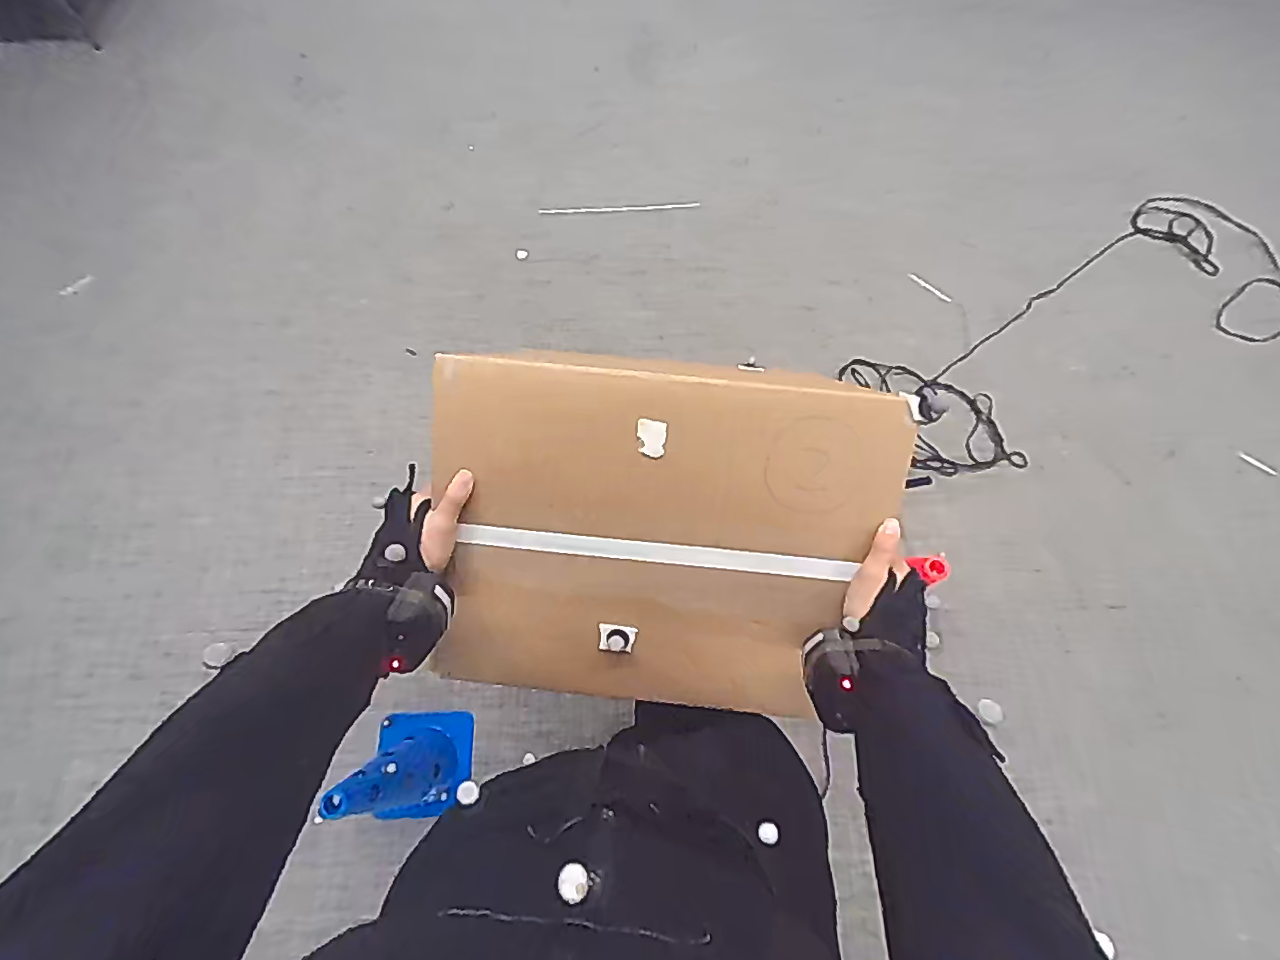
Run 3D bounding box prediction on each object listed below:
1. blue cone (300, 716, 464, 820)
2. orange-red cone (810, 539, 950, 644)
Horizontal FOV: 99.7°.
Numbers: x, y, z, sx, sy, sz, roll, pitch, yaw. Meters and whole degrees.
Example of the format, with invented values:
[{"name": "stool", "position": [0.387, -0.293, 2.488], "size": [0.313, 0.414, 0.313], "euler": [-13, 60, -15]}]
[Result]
[{"name": "blue cone", "position": [-0.469, 0.541, 0.971], "size": [0.192, 0.380, 0.193], "euler": [-1, 70, 1]}, {"name": "orange-red cone", "position": [0.495, 0.194, 1.053], "size": [0.199, 0.360, 0.198], "euler": [18, 73, 6]}]
